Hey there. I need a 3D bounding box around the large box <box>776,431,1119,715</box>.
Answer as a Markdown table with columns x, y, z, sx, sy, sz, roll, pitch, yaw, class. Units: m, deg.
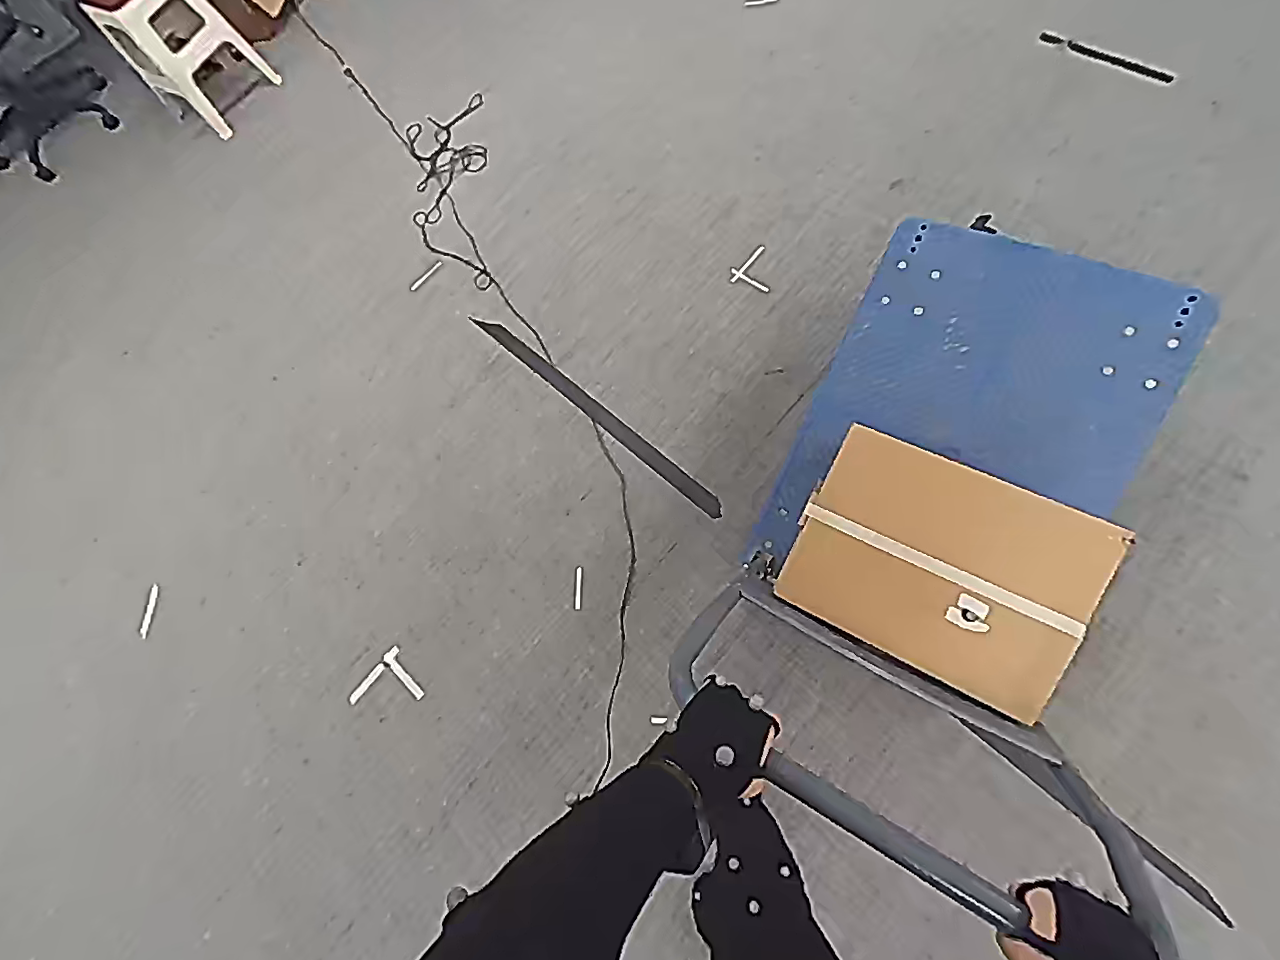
| x | y | z | sx | sy | sz | roll | pitch | yaw | class |
| --- | --- | --- | --- | --- | --- | --- | --- | --- | --- |
| 0.501 | 0.141 | 0.984 | 0.408 | 0.320 | 0.320 | 26 | 96 | 18 | large box |
